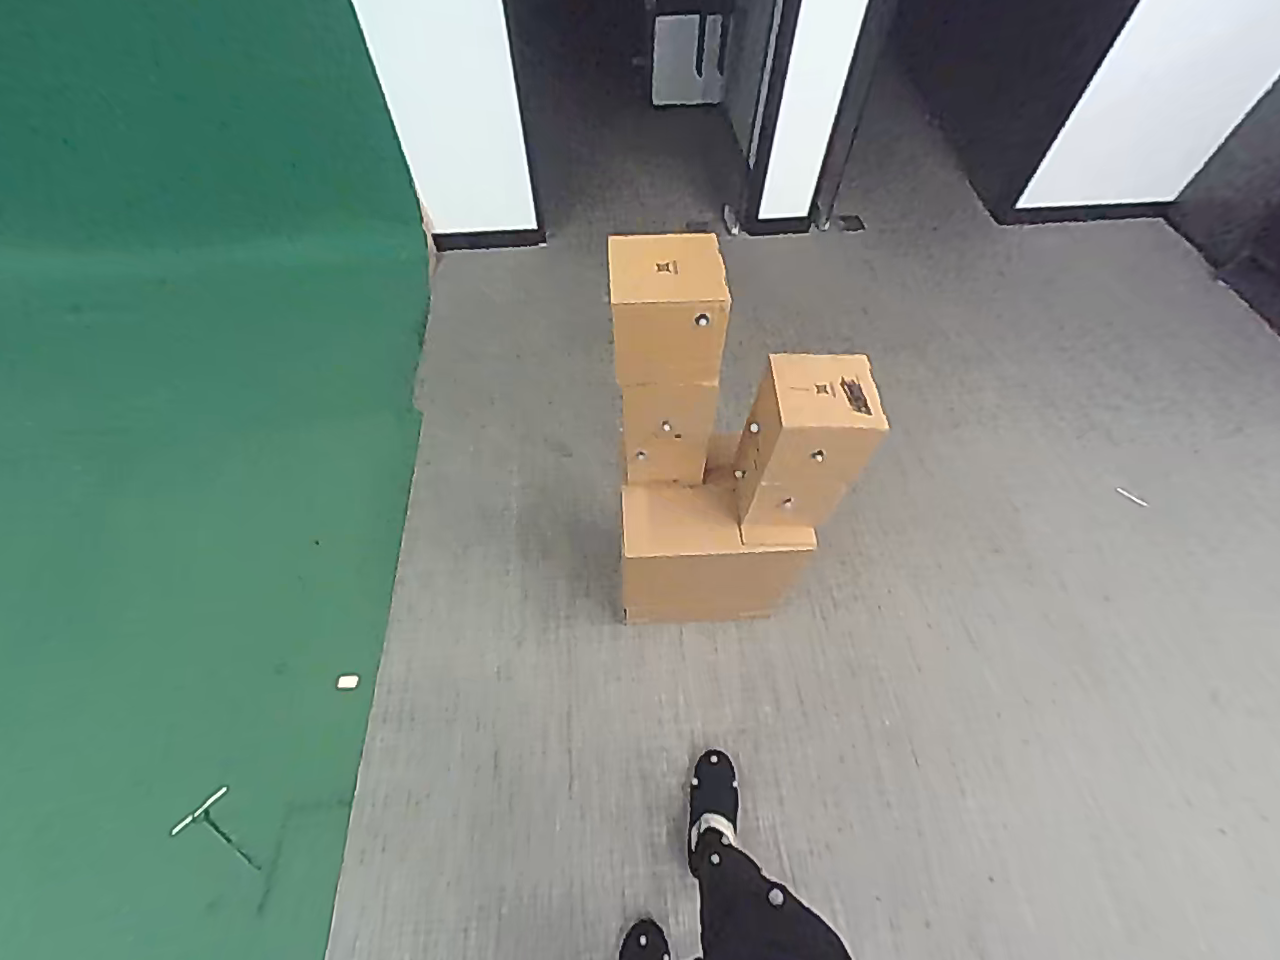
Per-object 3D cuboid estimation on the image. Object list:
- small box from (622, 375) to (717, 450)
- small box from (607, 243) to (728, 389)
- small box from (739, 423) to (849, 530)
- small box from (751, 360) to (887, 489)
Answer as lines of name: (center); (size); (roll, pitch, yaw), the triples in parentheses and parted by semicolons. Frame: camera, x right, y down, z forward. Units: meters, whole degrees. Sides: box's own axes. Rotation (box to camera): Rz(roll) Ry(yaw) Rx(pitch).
small box: (0.054, -0.178, 1.029); (0.168, 0.176, 0.179); (1, 57, 2)
small box: (0.039, -0.264, 0.891); (0.179, 0.176, 0.168); (-3, 57, -2)
small box: (0.303, -0.004, 1.110); (0.179, 0.176, 0.168); (-1, 59, 0)
small box: (0.309, -0.095, 0.974); (0.179, 0.176, 0.168); (0, 57, 0)
